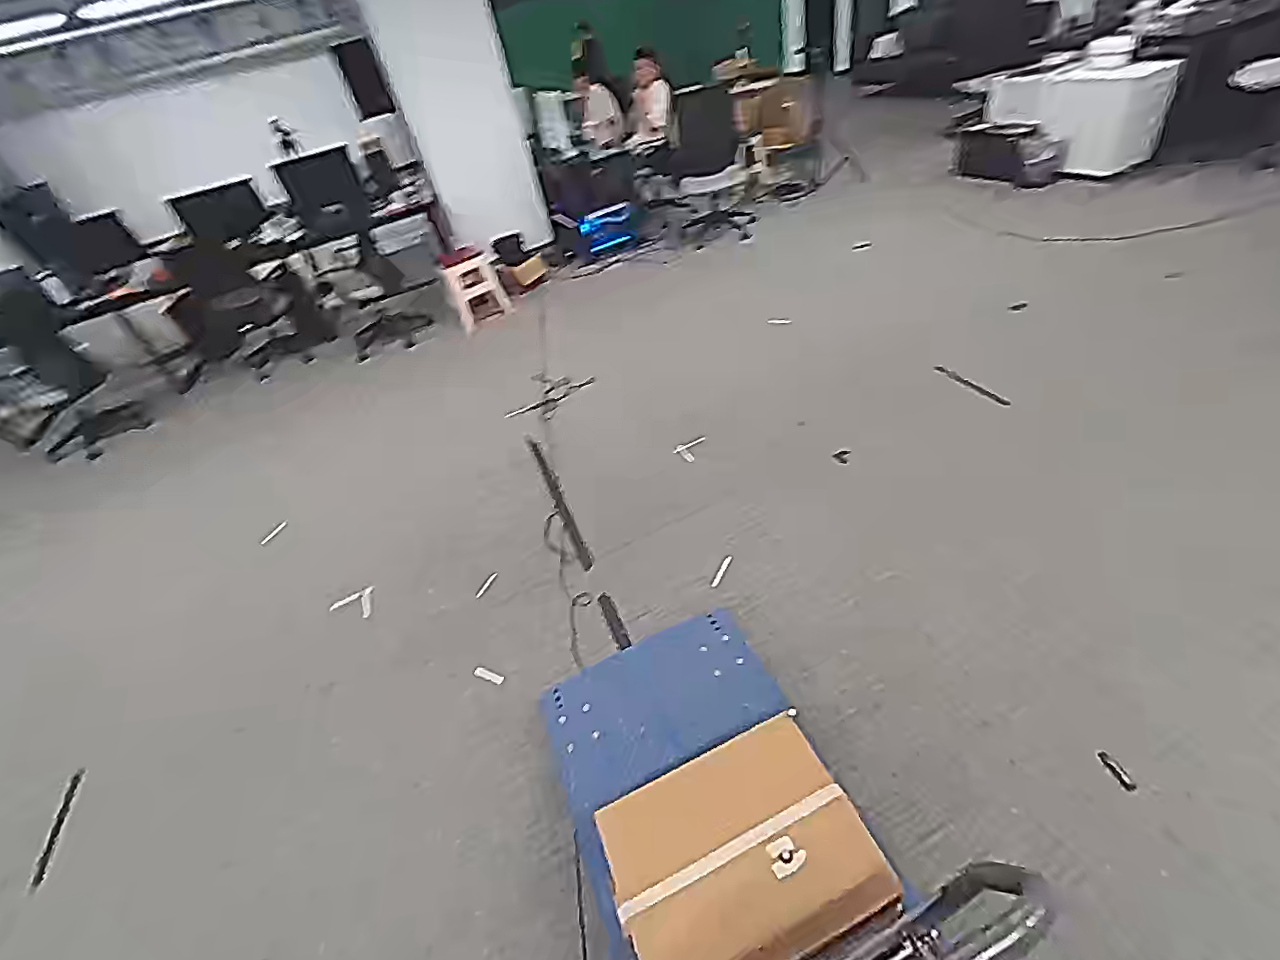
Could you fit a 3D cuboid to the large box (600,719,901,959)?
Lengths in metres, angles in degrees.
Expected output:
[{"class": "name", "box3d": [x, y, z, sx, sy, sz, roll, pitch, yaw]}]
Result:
[{"class": "large box", "box3d": [0.188, 0.726, 0.982, 0.408, 0.320, 0.320, -22, 41, -10]}]
